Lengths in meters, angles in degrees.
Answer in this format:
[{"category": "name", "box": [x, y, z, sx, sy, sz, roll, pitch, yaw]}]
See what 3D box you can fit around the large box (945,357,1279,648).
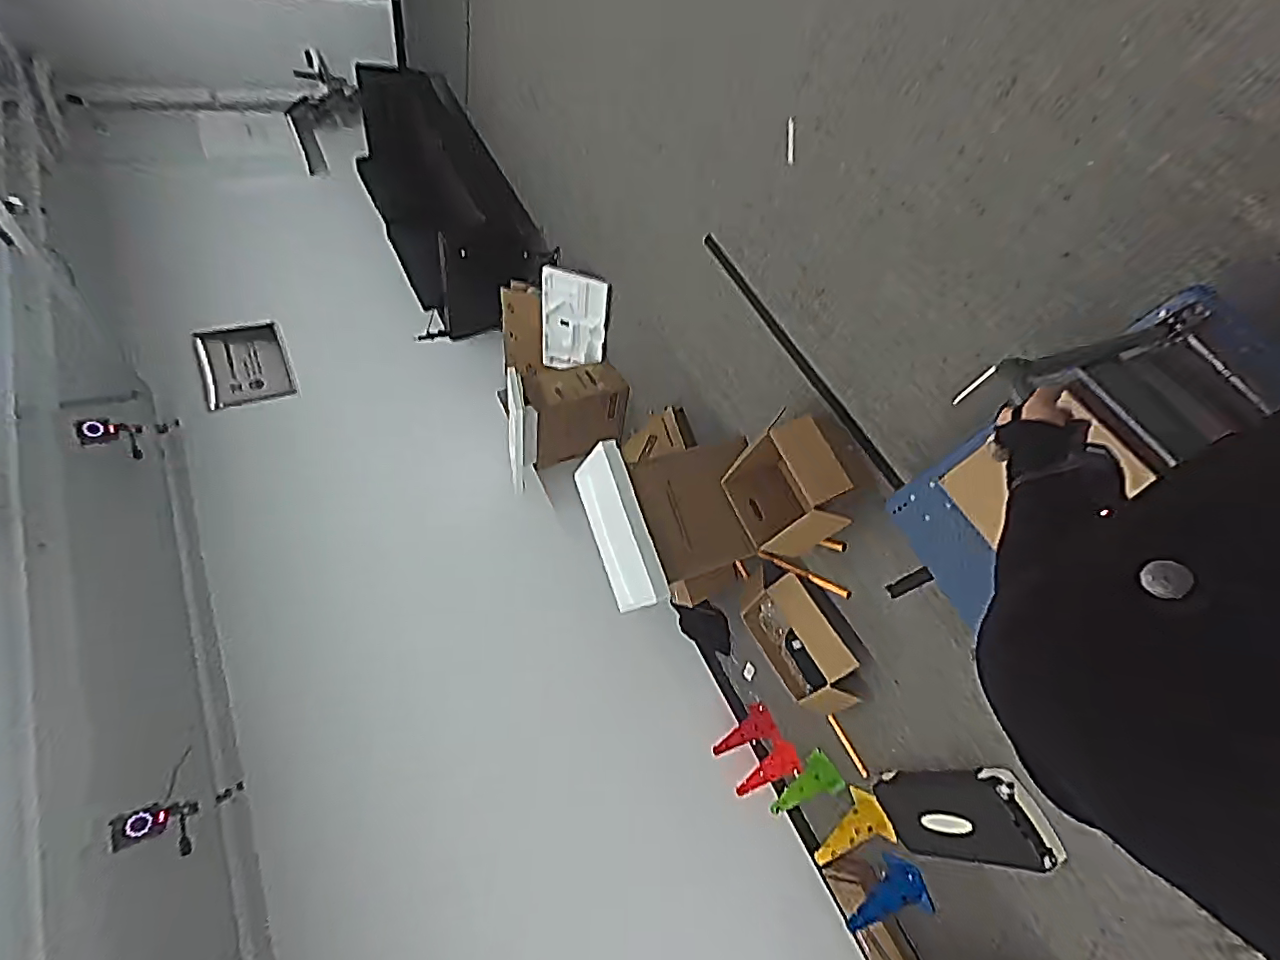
[{"category": "large box", "box": [0.905, 0.036, 1.019, 0.408, 0.320, 0.320, 61, 152, 24]}]
